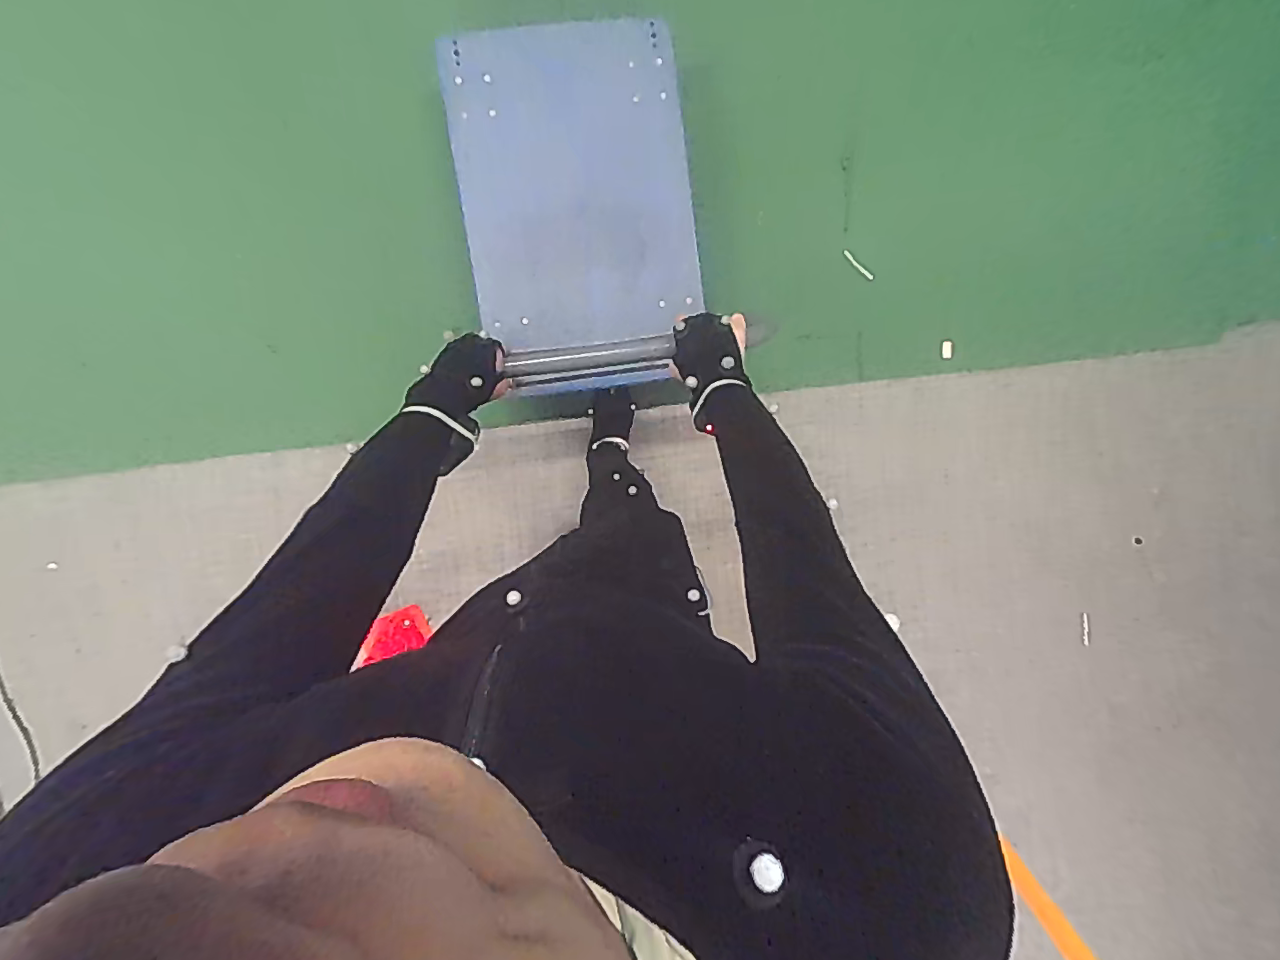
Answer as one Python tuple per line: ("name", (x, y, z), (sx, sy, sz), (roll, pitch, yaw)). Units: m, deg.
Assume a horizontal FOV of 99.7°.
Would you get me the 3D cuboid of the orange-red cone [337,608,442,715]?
("orange-red cone", (-0.688, 0.506, 1.409), (0.199, 0.360, 0.198), (-22, 96, -1))
